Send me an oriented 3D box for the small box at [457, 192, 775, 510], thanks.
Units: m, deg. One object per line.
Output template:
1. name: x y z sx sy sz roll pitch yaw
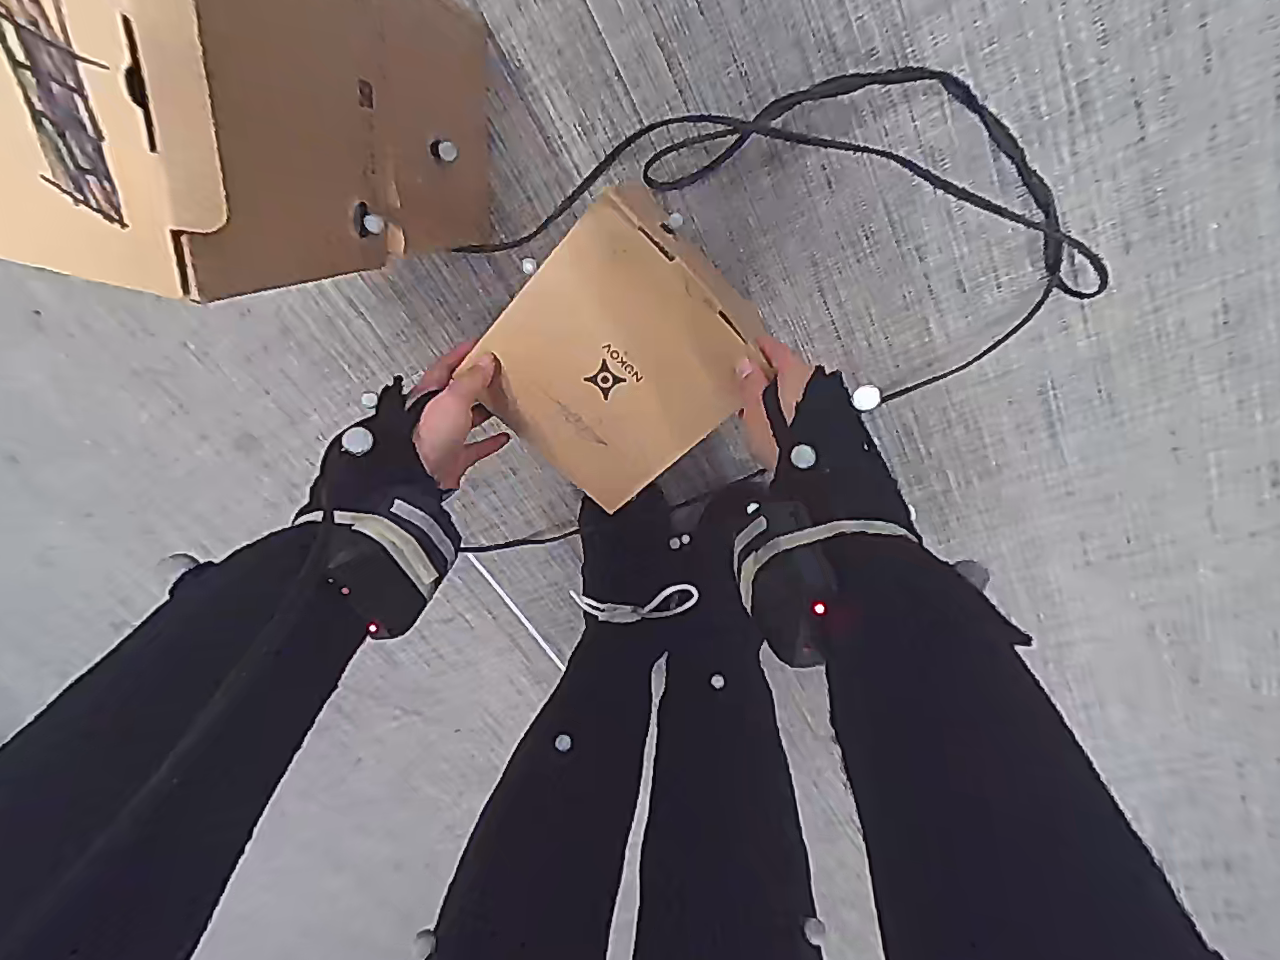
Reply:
1. small box: -0.014 -0.115 0.457 0.168 0.176 0.179 42 116 -15

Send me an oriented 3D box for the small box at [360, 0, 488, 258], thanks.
1. small box: -0.231 -0.289 0.434 0.168 0.176 0.179 9 118 4

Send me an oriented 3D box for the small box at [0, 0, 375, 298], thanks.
1. small box: -0.264 -0.212 0.291 0.179 0.176 0.168 14 118 2
